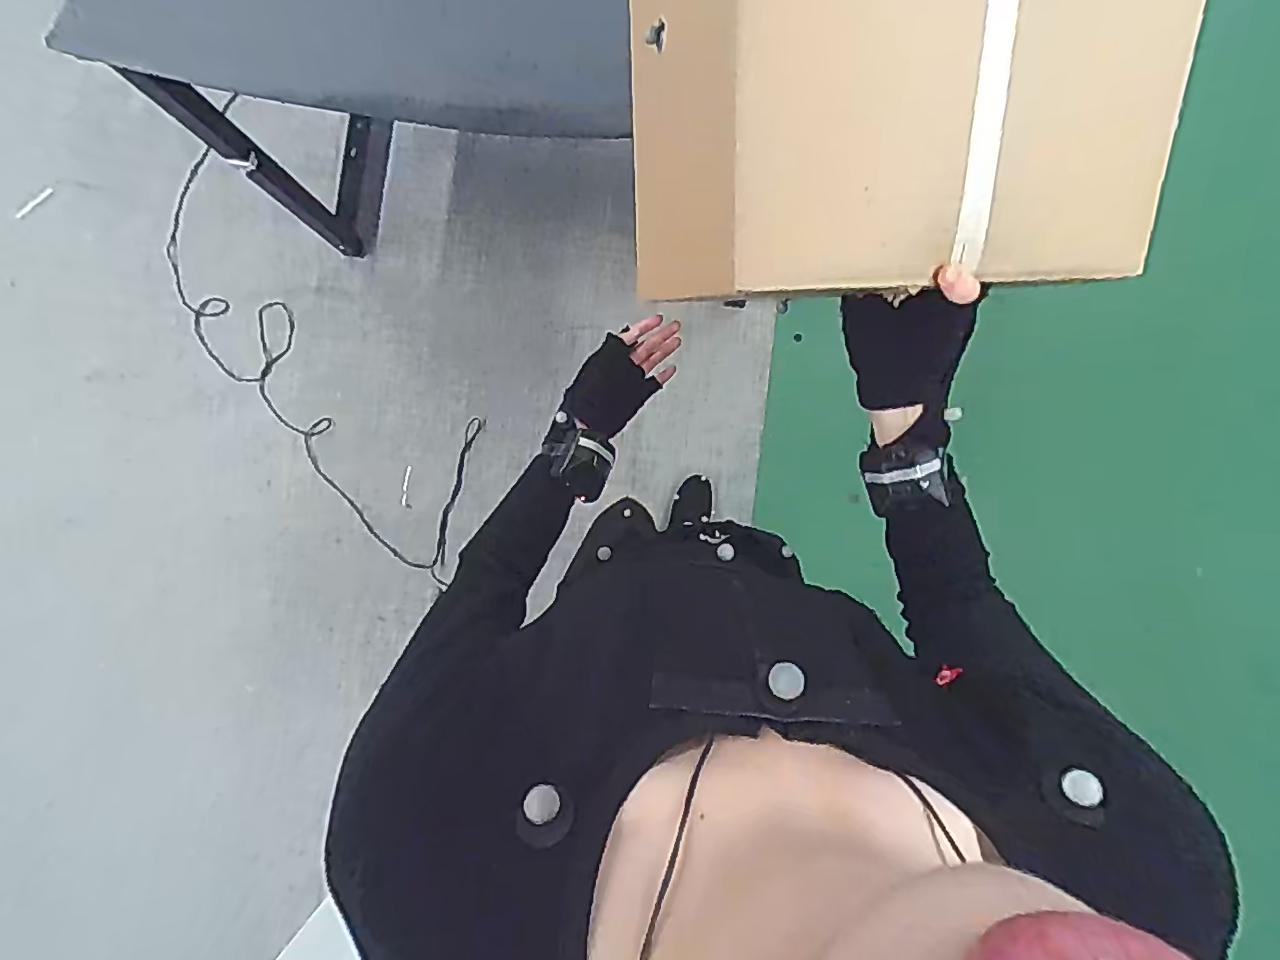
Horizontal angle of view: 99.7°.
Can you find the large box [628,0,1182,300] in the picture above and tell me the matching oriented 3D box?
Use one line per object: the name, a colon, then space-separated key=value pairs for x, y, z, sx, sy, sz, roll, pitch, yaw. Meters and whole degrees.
large box: x=0.166 y=-0.373 z=0.447 sx=0.320 sy=0.320 sz=0.408 roll=-6 pitch=107 yaw=-10
